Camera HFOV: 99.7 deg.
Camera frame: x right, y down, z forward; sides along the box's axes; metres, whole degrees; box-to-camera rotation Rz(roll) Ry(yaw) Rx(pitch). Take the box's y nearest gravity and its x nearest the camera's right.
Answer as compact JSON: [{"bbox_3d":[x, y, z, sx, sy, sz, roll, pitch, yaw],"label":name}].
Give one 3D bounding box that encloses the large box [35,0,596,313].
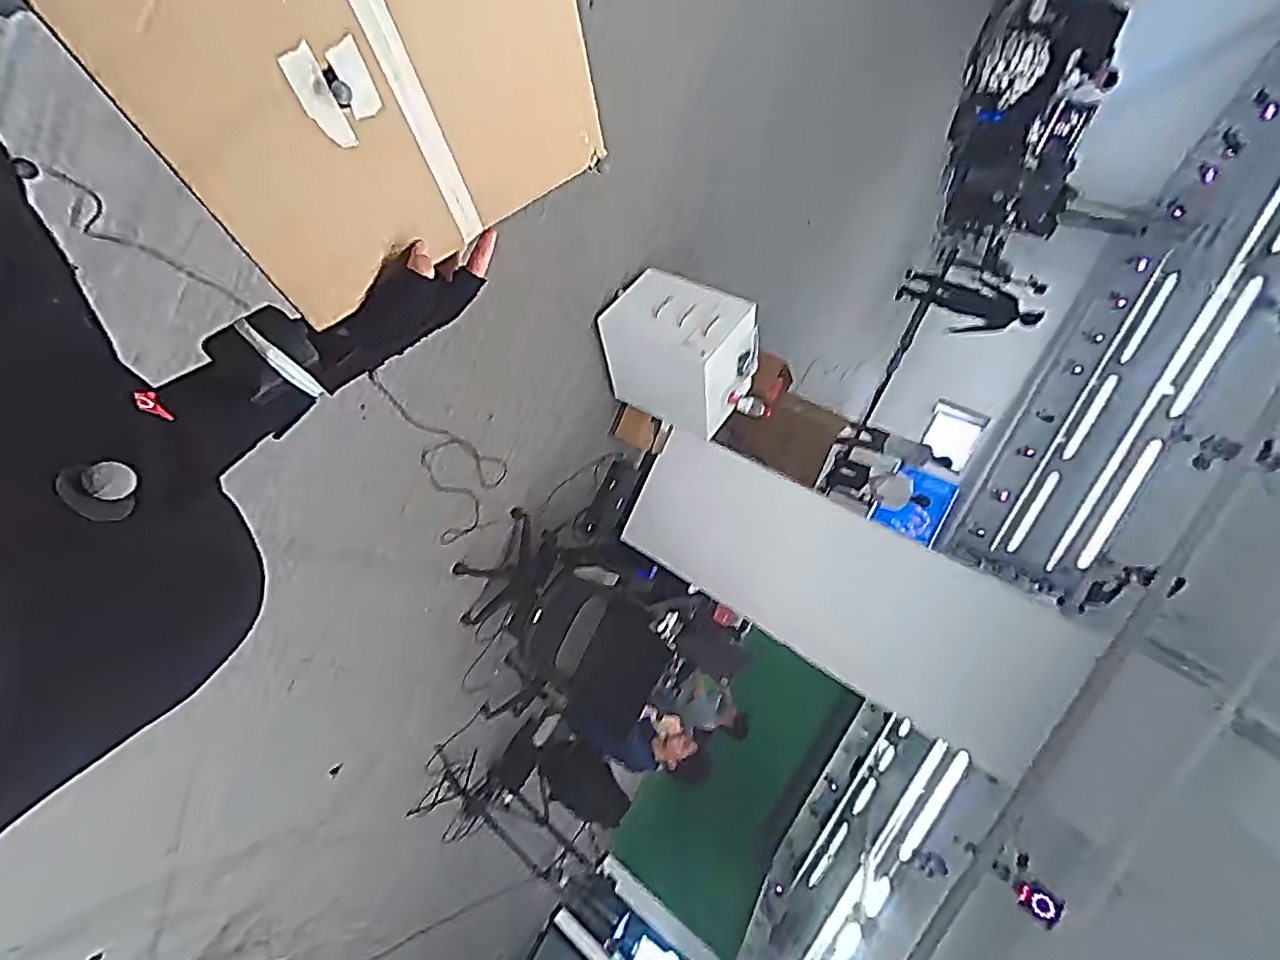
[{"bbox_3d":[-0.282,-0.420,0.392,0.320,0.320,0.408,-39,151,-13],"label":"large box"}]
